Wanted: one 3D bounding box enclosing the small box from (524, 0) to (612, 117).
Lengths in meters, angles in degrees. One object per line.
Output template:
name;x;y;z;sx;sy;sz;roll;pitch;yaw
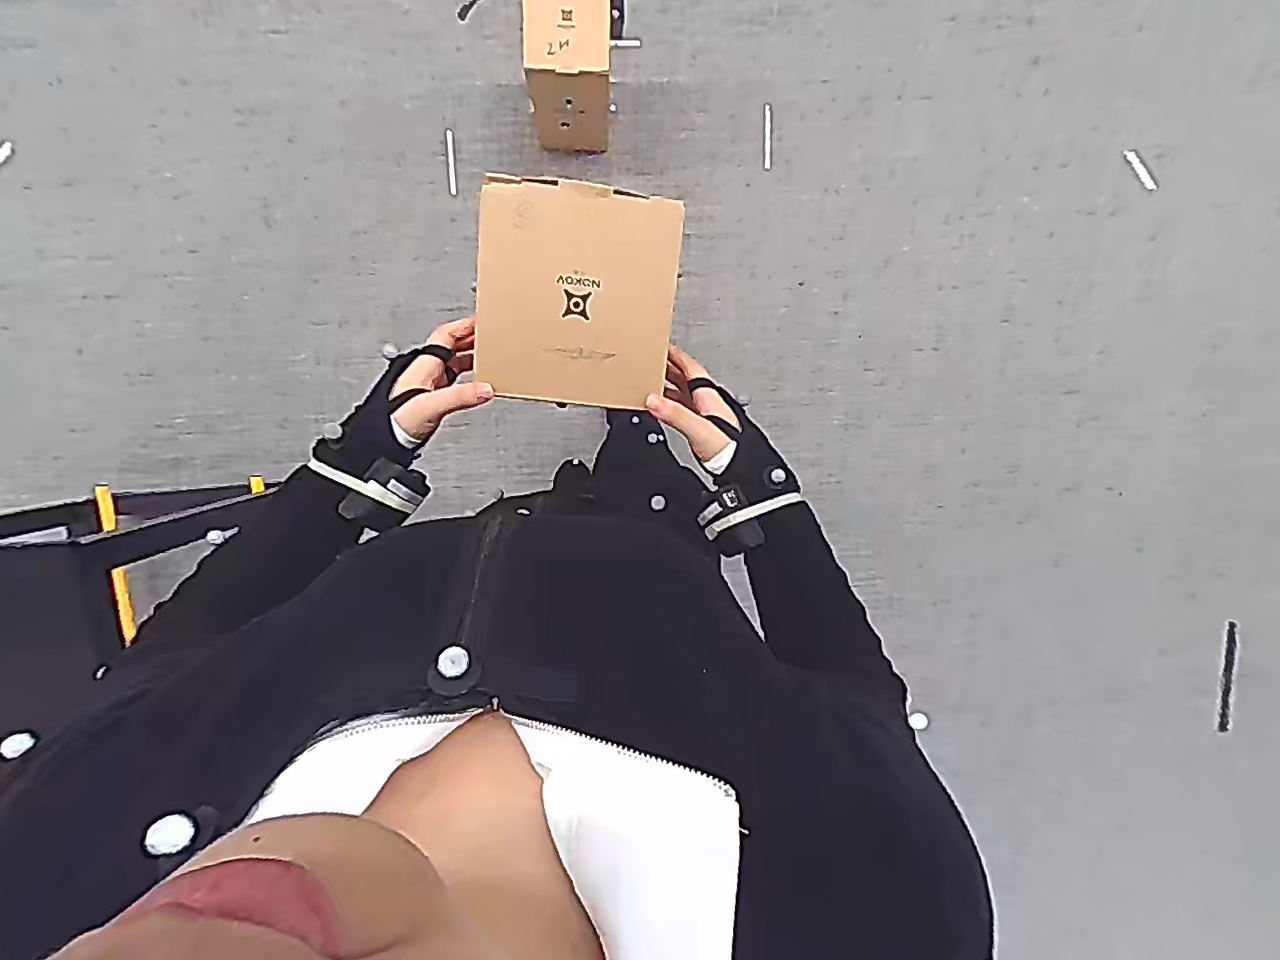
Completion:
small box;-0.141;-0.879;1.098;0.168;0.176;0.179;1;99;-3

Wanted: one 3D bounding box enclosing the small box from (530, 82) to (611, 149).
small box;-0.158;-0.899;1.261;0.179;0.176;0.168;1;99;-4
